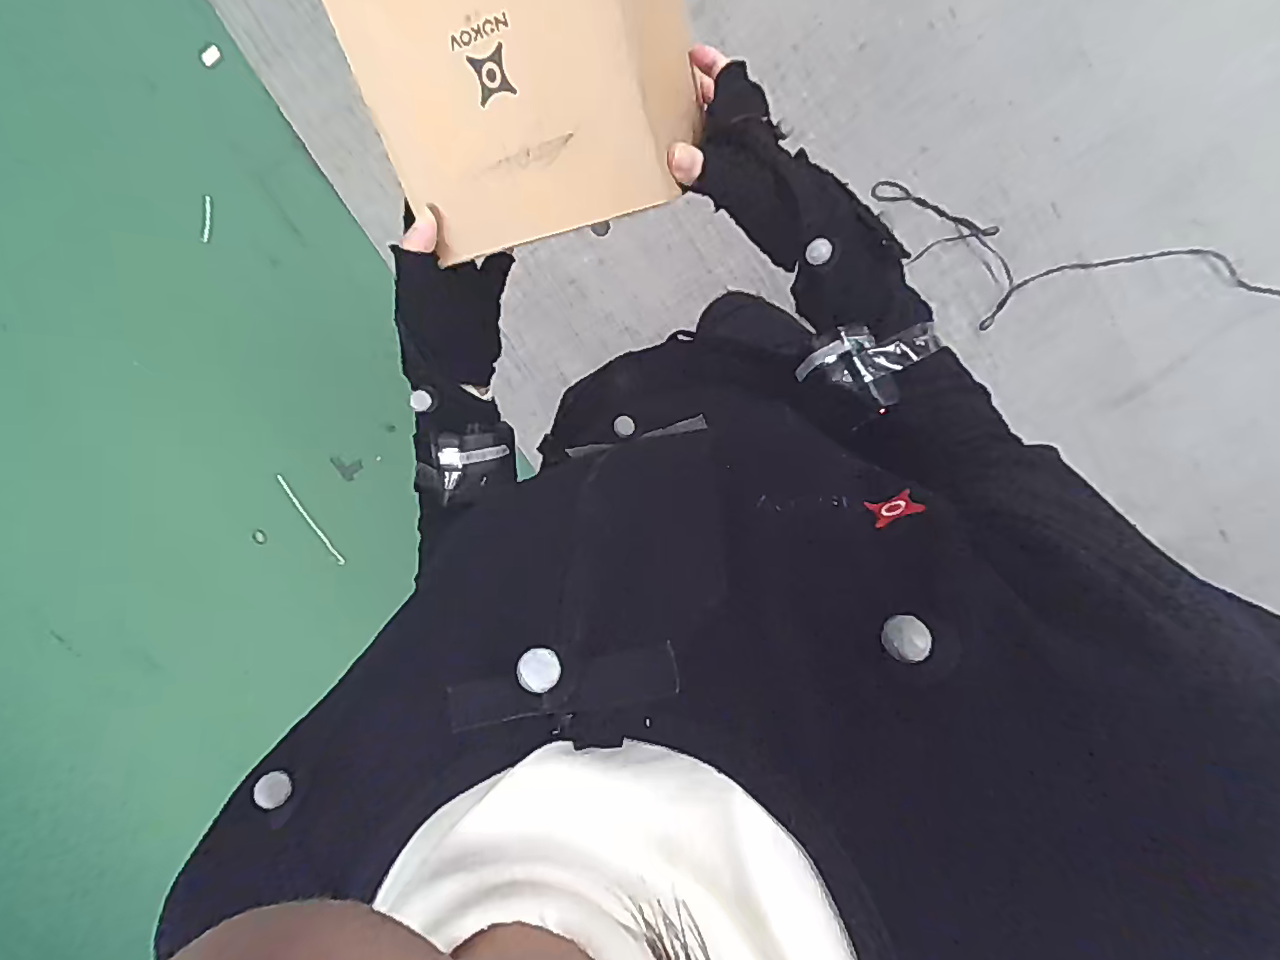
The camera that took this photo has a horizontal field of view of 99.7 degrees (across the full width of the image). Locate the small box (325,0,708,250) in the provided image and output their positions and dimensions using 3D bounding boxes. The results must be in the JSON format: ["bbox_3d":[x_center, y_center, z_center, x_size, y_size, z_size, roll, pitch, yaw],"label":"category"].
[{"bbox_3d":[-0.062,-0.272,0.350,0.168,0.176,0.179,-5,122,22],"label":"small box"}]
